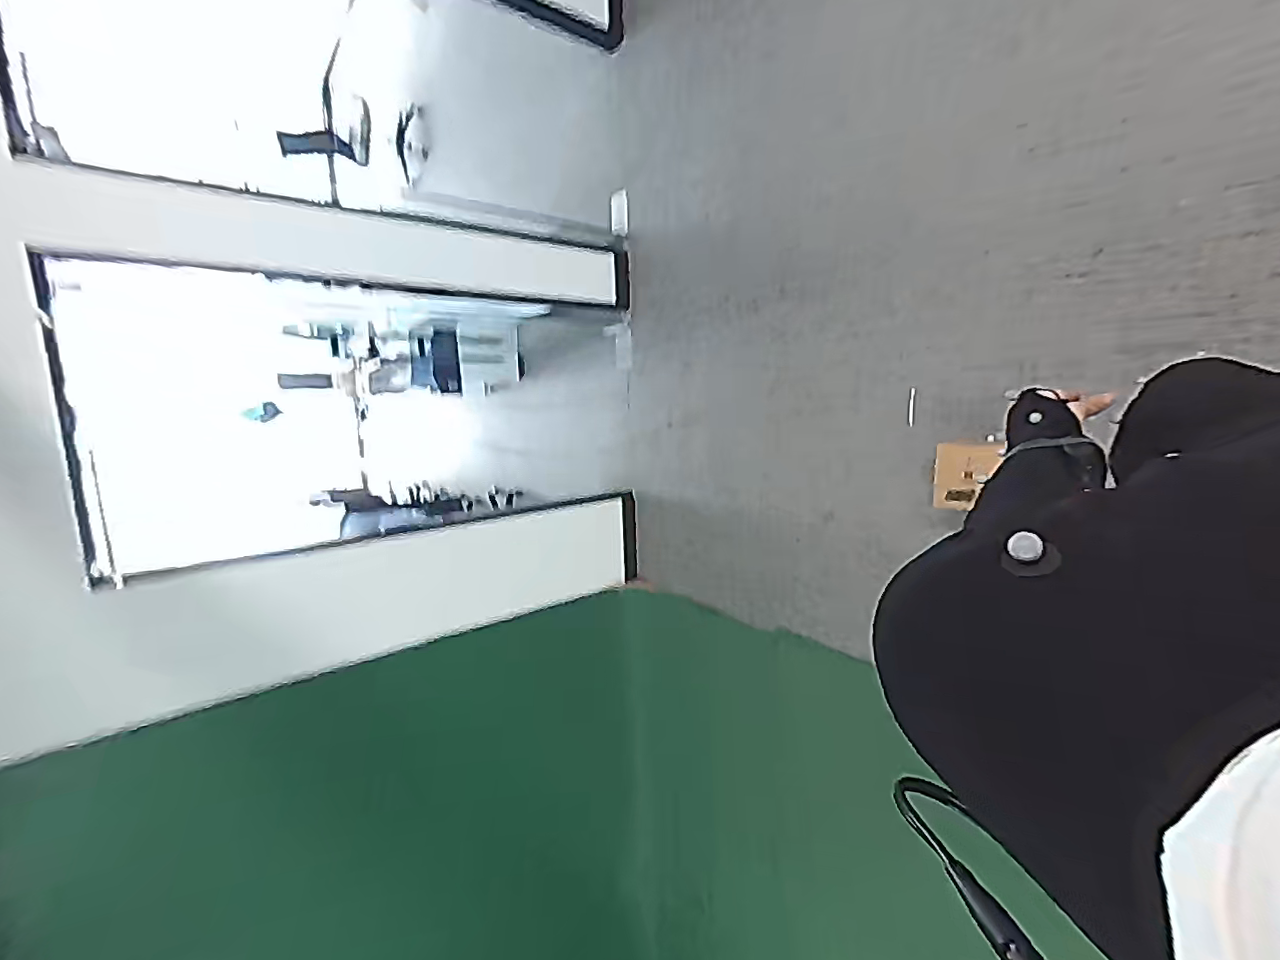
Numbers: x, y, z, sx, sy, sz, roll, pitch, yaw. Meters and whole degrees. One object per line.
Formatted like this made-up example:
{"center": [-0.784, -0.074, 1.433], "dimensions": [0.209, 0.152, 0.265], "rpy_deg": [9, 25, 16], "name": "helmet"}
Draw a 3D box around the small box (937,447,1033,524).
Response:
{"center": [0.916, 0.007, 1.436], "dimensions": [0.168, 0.176, 0.179], "rpy_deg": [9, 102, 52], "name": "small box"}
